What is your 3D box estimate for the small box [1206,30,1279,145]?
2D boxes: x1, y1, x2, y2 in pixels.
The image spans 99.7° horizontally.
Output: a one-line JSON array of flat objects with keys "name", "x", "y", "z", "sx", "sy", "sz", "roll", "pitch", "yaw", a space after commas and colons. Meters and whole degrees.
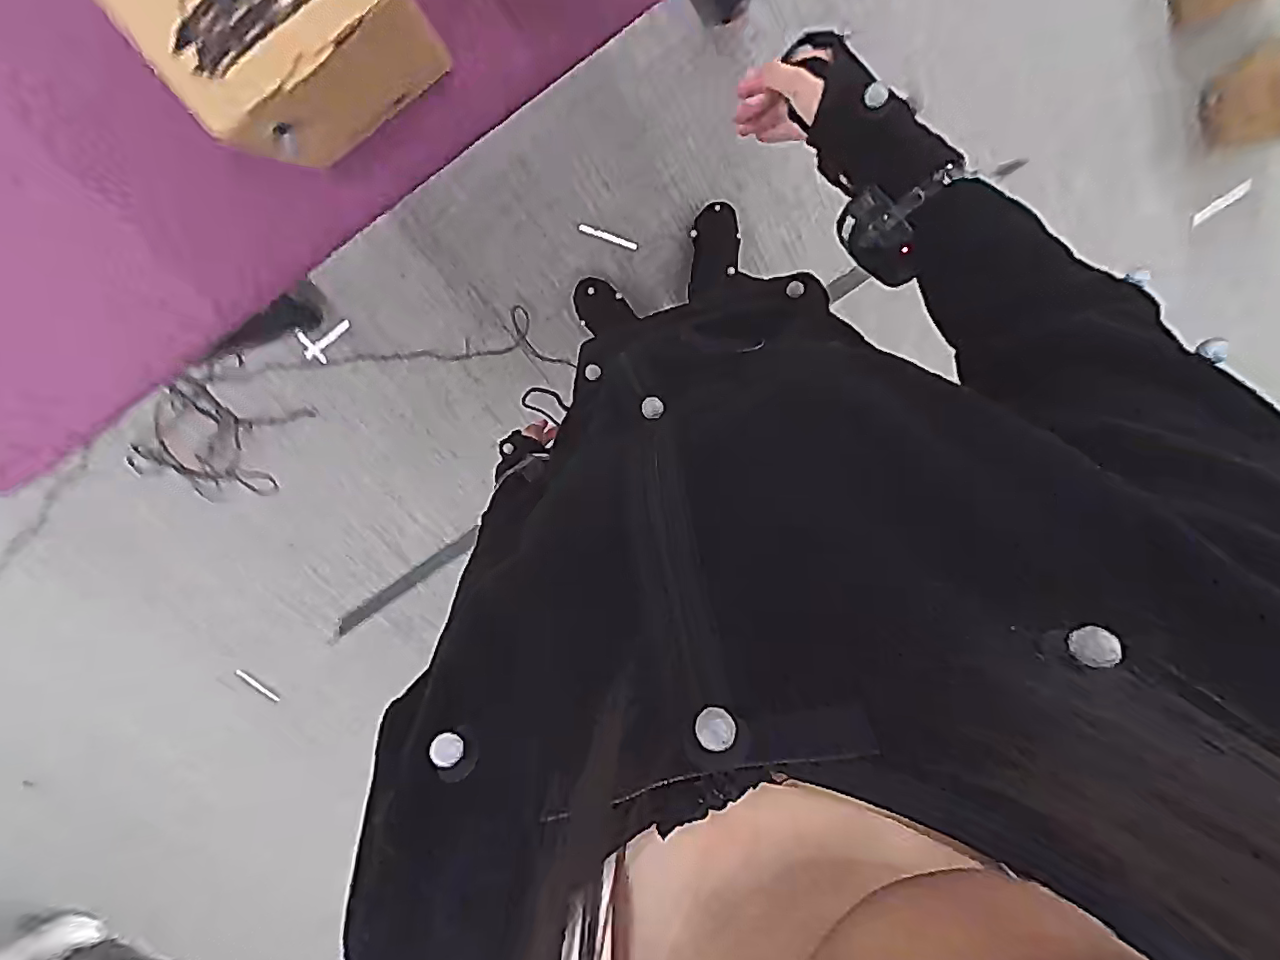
[{"name": "small box", "x": 1.415, "y": -0.879, "z": 1.193, "sx": 0.179, "sy": 0.176, "sz": 0.168, "roll": -35, "pitch": 113, "yaw": 8}]

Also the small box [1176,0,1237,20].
[{"name": "small box", "x": 1.225, "y": -1.087, "z": 1.081, "sx": 0.168, "sy": 0.176, "sz": 0.179, "roll": -34, "pitch": 113, "yaw": 8}]
